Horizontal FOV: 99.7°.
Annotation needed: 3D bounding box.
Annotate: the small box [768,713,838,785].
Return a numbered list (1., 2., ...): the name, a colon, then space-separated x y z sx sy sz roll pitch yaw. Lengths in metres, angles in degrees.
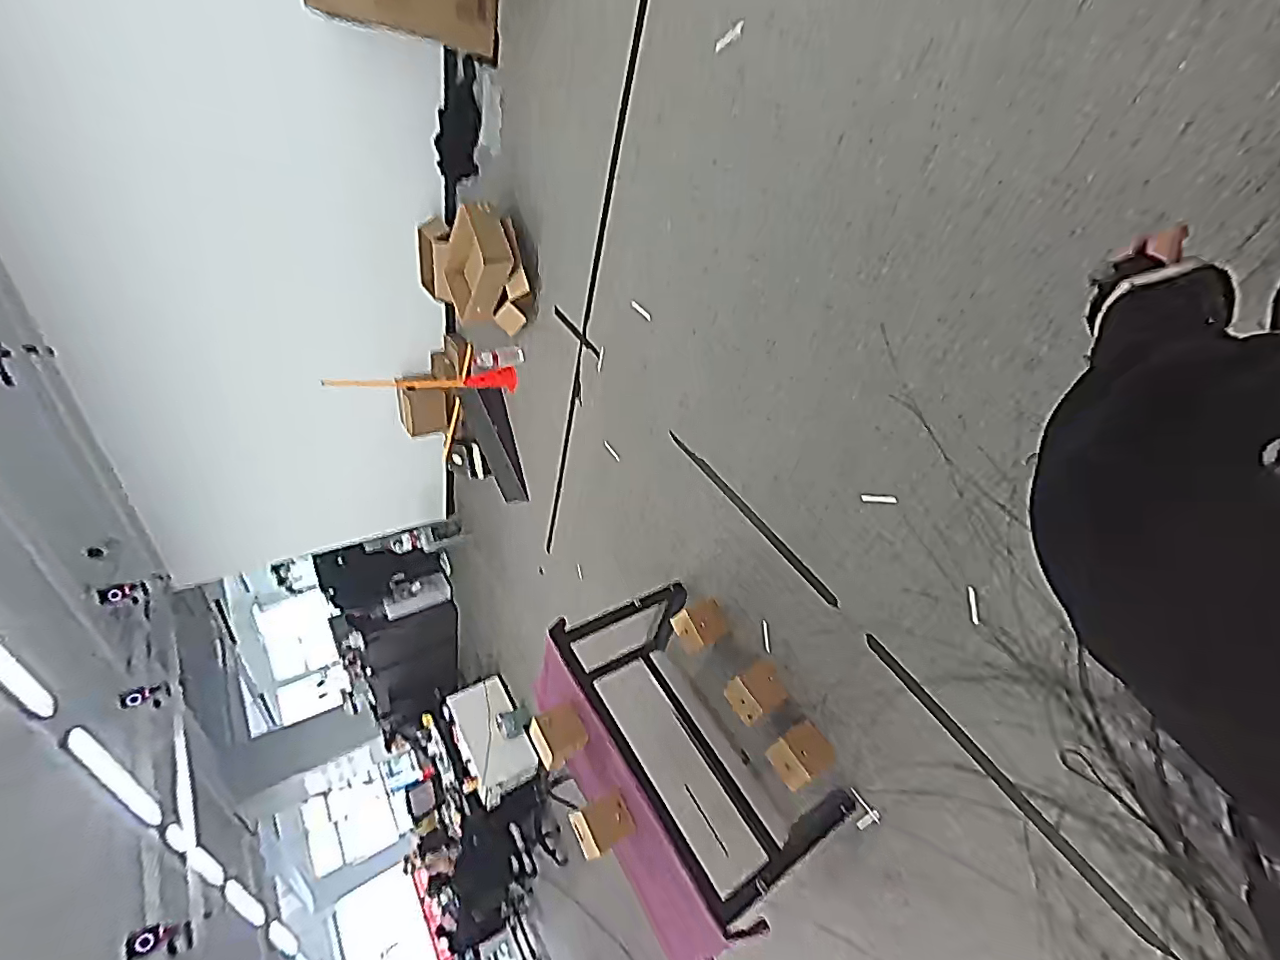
1. small box: 0.656 1.077 2.173 0.179 0.176 0.168 51 140 31

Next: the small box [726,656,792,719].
1. small box: 0.507 0.877 2.306 0.179 0.176 0.168 53 142 29

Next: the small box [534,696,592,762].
1. small box: -0.326 1.036 2.270 0.179 0.176 0.168 51 142 30

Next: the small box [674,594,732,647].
1. small box: 0.295 0.651 2.526 0.179 0.176 0.168 60 144 18

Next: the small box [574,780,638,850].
1. small box: -0.130 1.297 2.094 0.168 0.176 0.179 58 143 23
